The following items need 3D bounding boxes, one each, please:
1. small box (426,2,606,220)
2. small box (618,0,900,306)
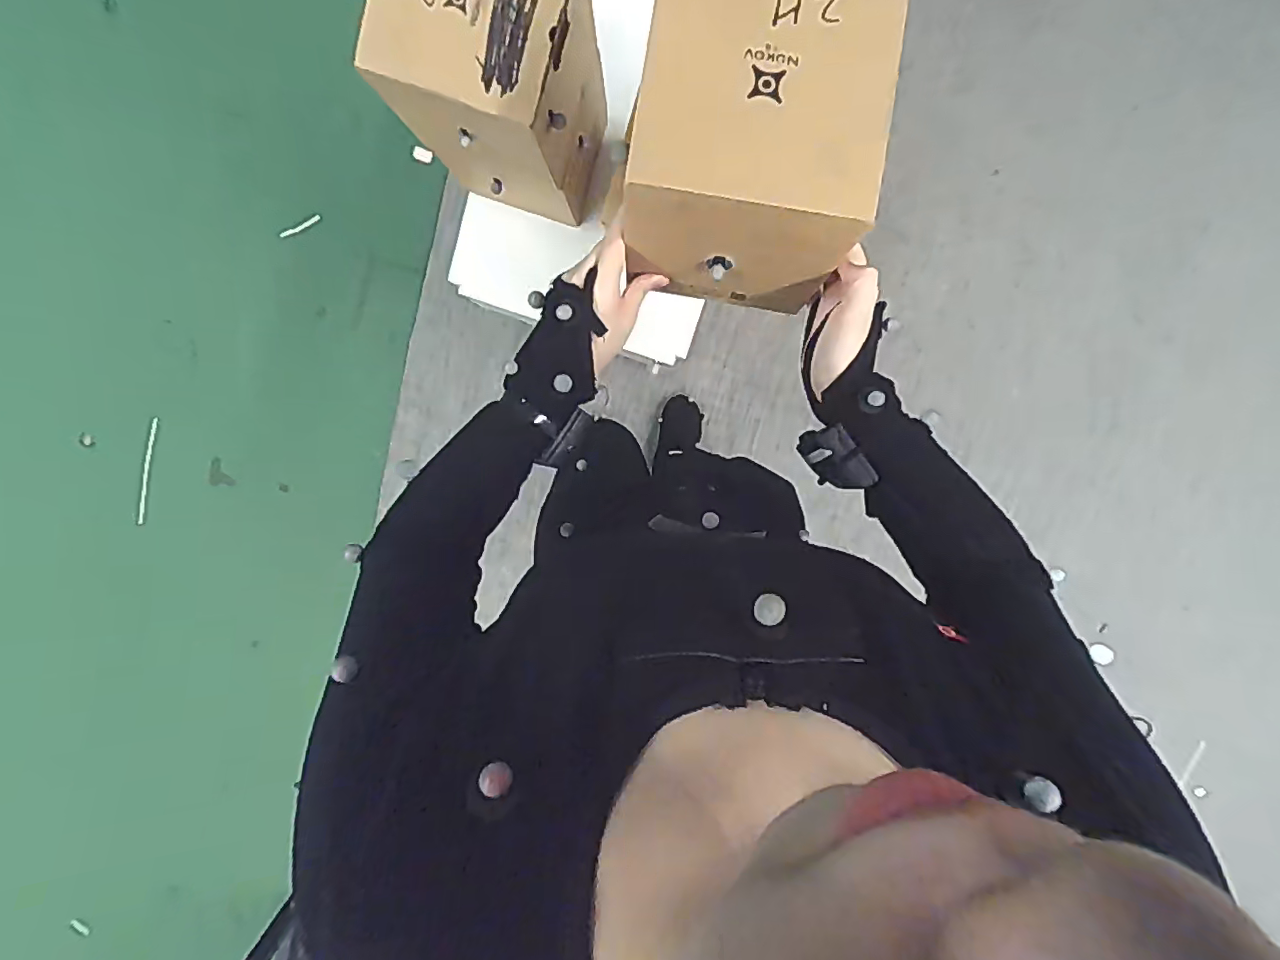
[{"bbox_3d":[-0.154,-0.475,0.728,0.179,0.176,0.168,17,100,-2],"label":"small box"},{"bbox_3d":[0.079,-0.260,0.434,0.168,0.176,0.179,9,87,-1],"label":"small box"}]
